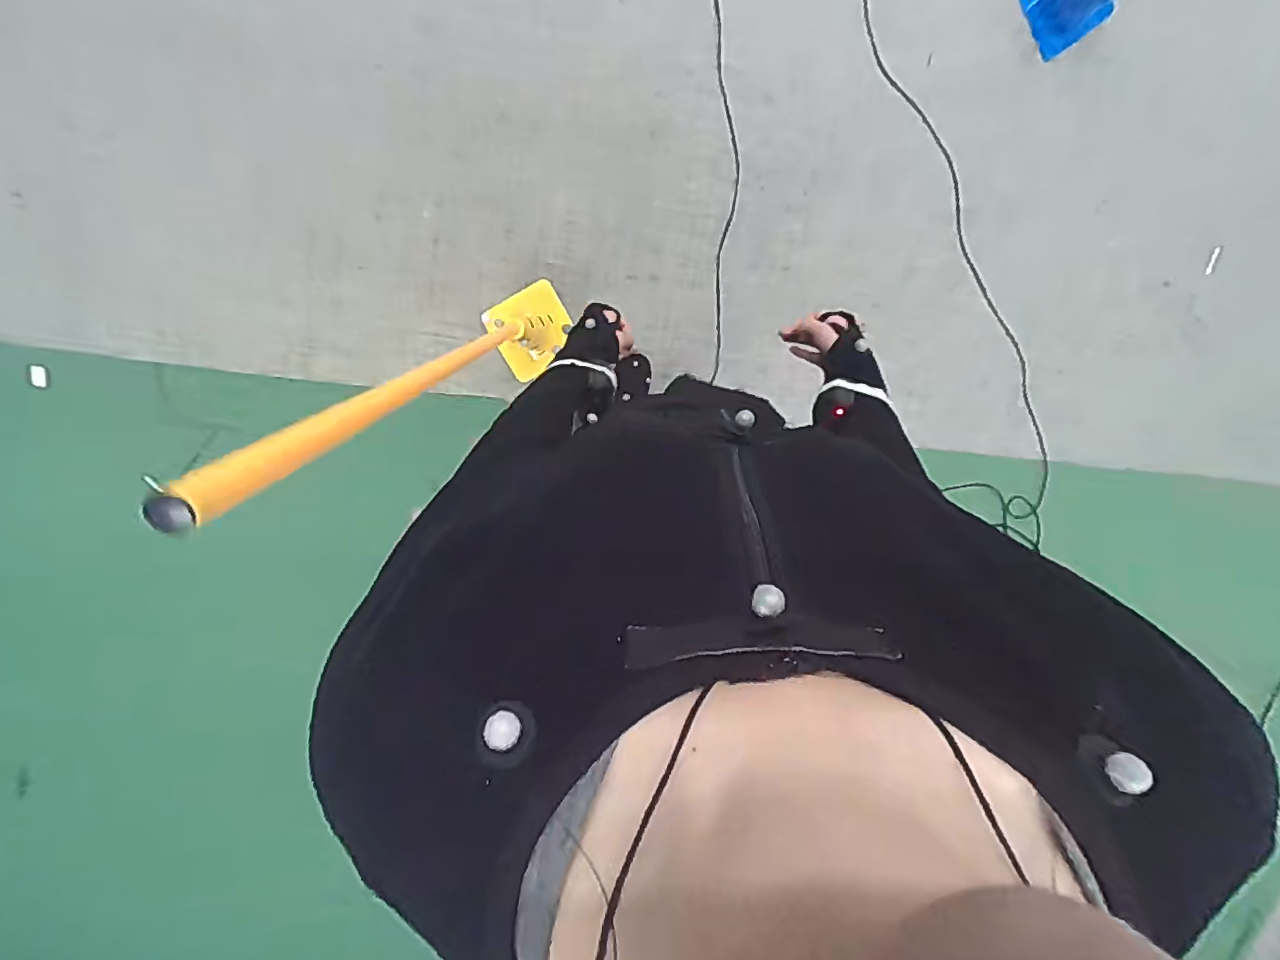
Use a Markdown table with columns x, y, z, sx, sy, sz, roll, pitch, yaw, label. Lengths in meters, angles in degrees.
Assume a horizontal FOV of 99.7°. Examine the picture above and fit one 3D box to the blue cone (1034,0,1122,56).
| x | y | z | sx | sy | sz | roll | pitch | yaw | label |
| --- | --- | --- | --- | --- | --- | --- | --- | --- | --- |
| 1.050 | -1.108 | 1.120 | 0.193 | 0.380 | 0.192 | -38 | 104 | 3 | blue cone |
